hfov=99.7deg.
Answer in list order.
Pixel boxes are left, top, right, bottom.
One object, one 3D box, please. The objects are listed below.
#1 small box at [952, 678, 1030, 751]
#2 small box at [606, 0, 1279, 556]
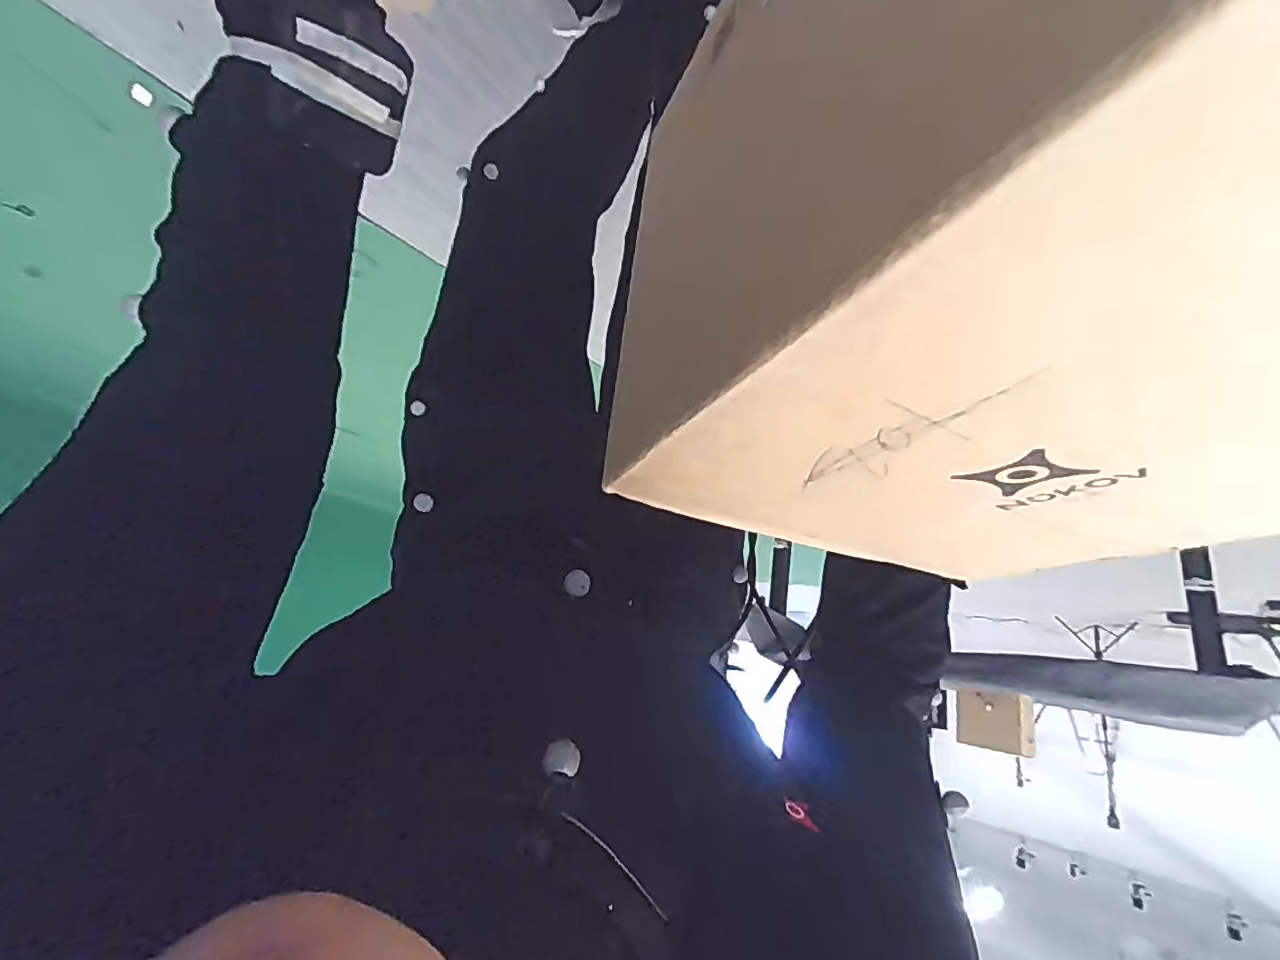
[{"bbox_3d":[1.050,0.697,1.614,0.168,0.176,0.179,-8,154,44],"label":"small box"},{"bbox_3d":[0.108,-0.085,0.171,0.179,0.176,0.168,15,156,-20],"label":"small box"}]
